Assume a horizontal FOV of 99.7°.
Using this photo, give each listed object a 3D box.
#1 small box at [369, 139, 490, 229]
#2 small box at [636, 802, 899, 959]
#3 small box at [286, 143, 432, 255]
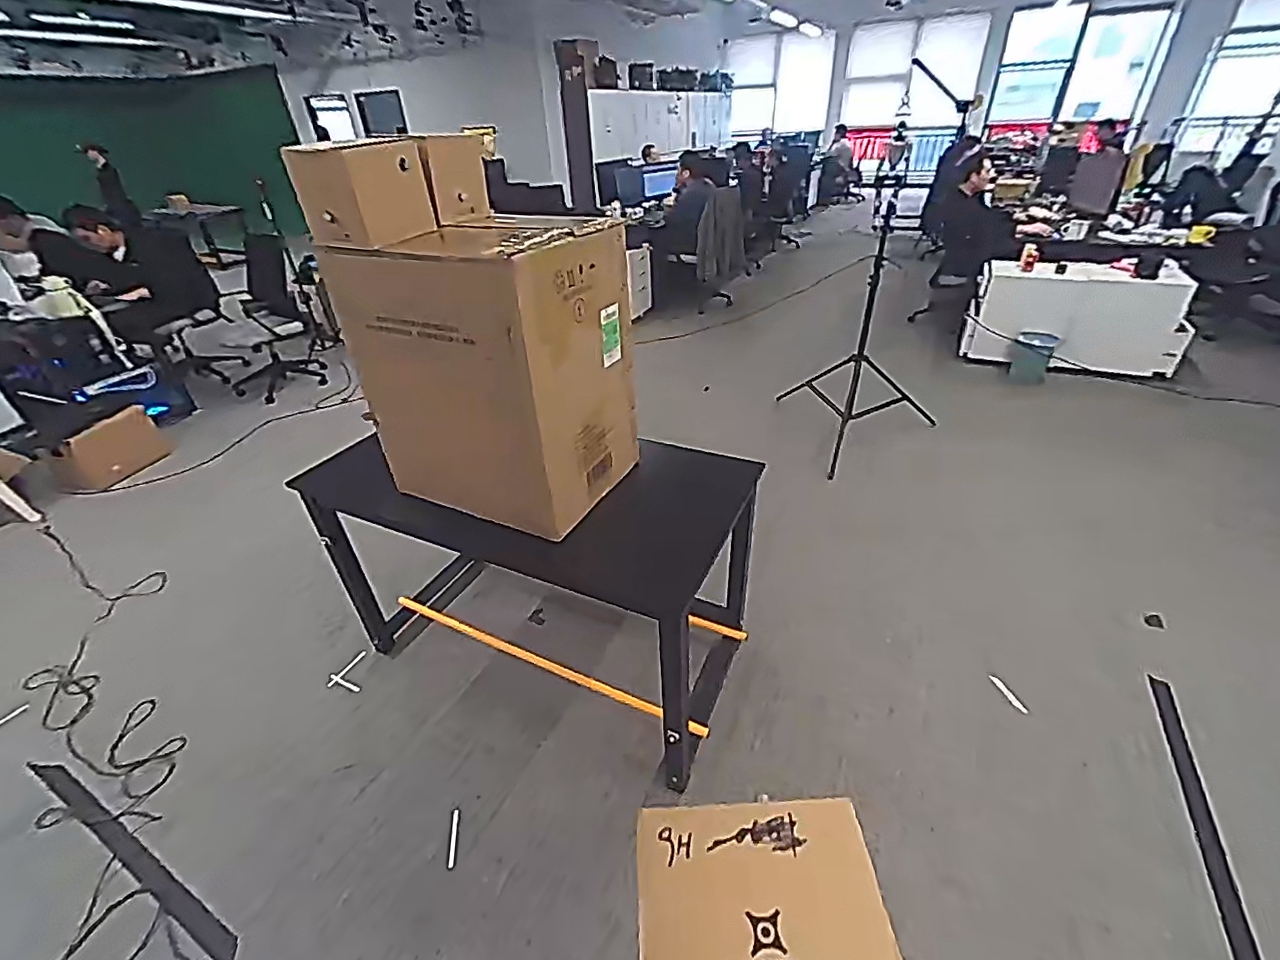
[{"bbox_3d":[-0.464,-0.664,1.213,0.179,0.176,0.168,15,36,23],"label":"small box"},{"bbox_3d":[0.087,0.365,0.393,0.168,0.176,0.179,-5,39,1],"label":"small box"},{"bbox_3d":[-0.535,-0.555,1.062,0.168,0.176,0.179,14,40,23],"label":"small box"}]
